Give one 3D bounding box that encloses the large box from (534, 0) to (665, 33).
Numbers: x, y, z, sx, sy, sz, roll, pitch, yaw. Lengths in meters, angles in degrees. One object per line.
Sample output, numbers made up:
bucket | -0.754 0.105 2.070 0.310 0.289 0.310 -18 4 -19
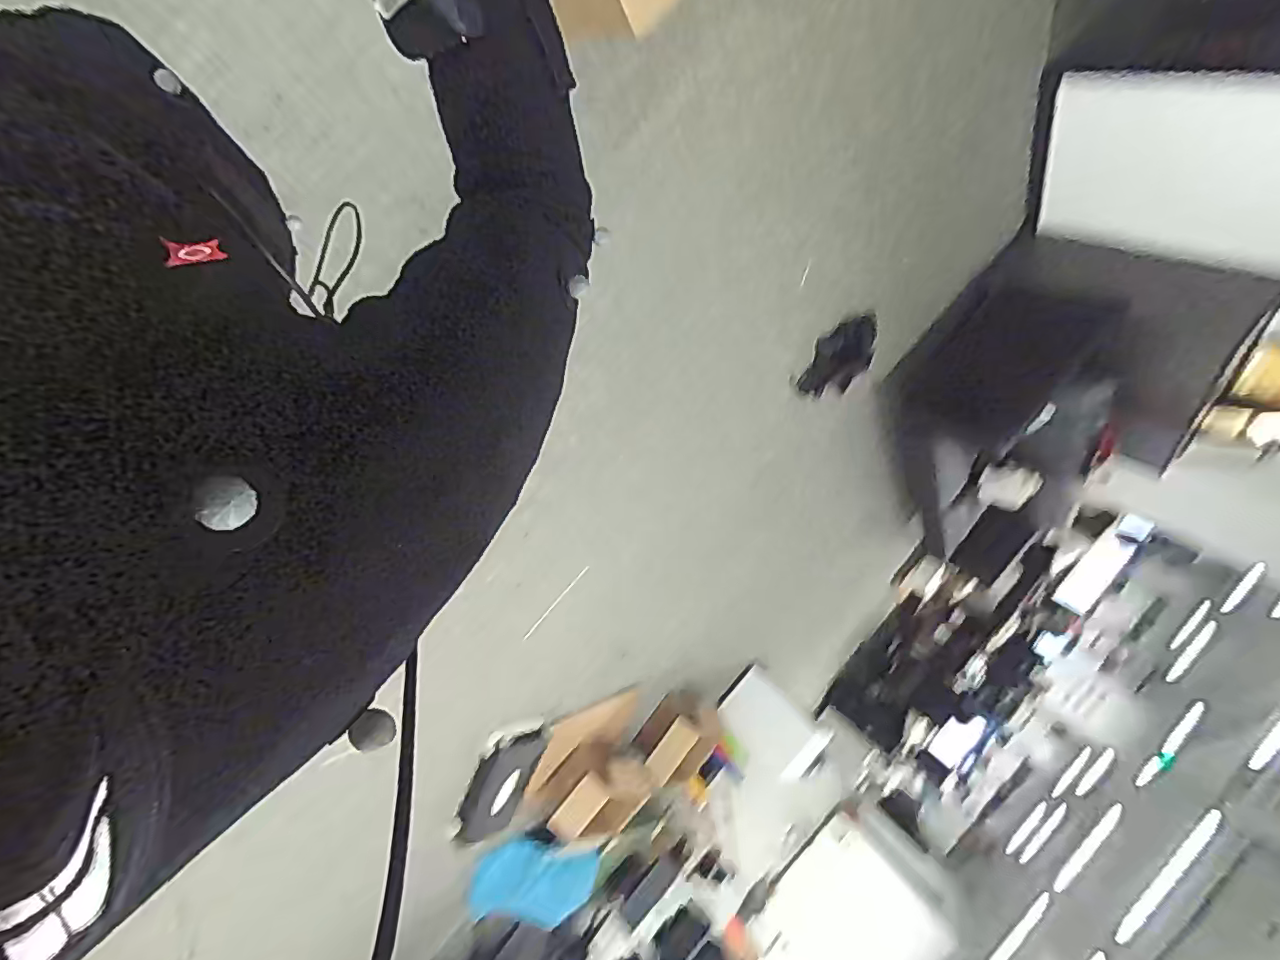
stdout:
large box | -0.092 -1.092 0.935 0.320 0.320 0.408 -48 142 -2
